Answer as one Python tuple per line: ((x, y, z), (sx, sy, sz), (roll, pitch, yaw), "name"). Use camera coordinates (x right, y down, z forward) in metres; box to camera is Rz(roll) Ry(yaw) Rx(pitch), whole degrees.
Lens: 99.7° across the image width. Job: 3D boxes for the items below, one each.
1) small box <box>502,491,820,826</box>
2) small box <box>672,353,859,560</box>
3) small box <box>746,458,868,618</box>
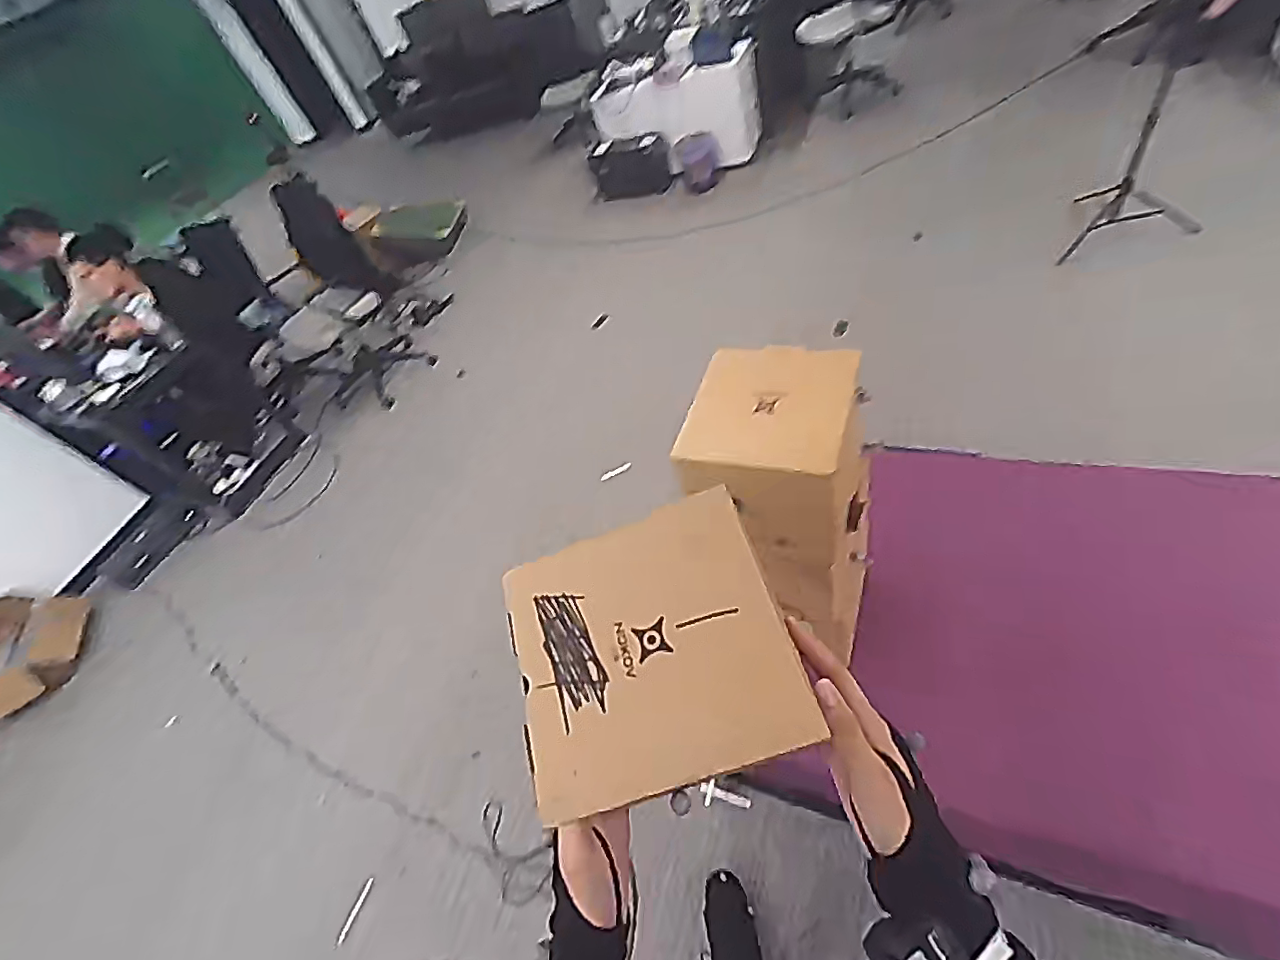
((0.023, 0.140, 0.412), (0.179, 0.176, 0.168), (-23, 60, 7), "small box")
((0.158, -0.028, 0.632), (0.168, 0.176, 0.179), (7, 54, 26), "small box")
((0.204, 0.069, 0.754), (0.179, 0.176, 0.168), (14, 58, 30), "small box")
